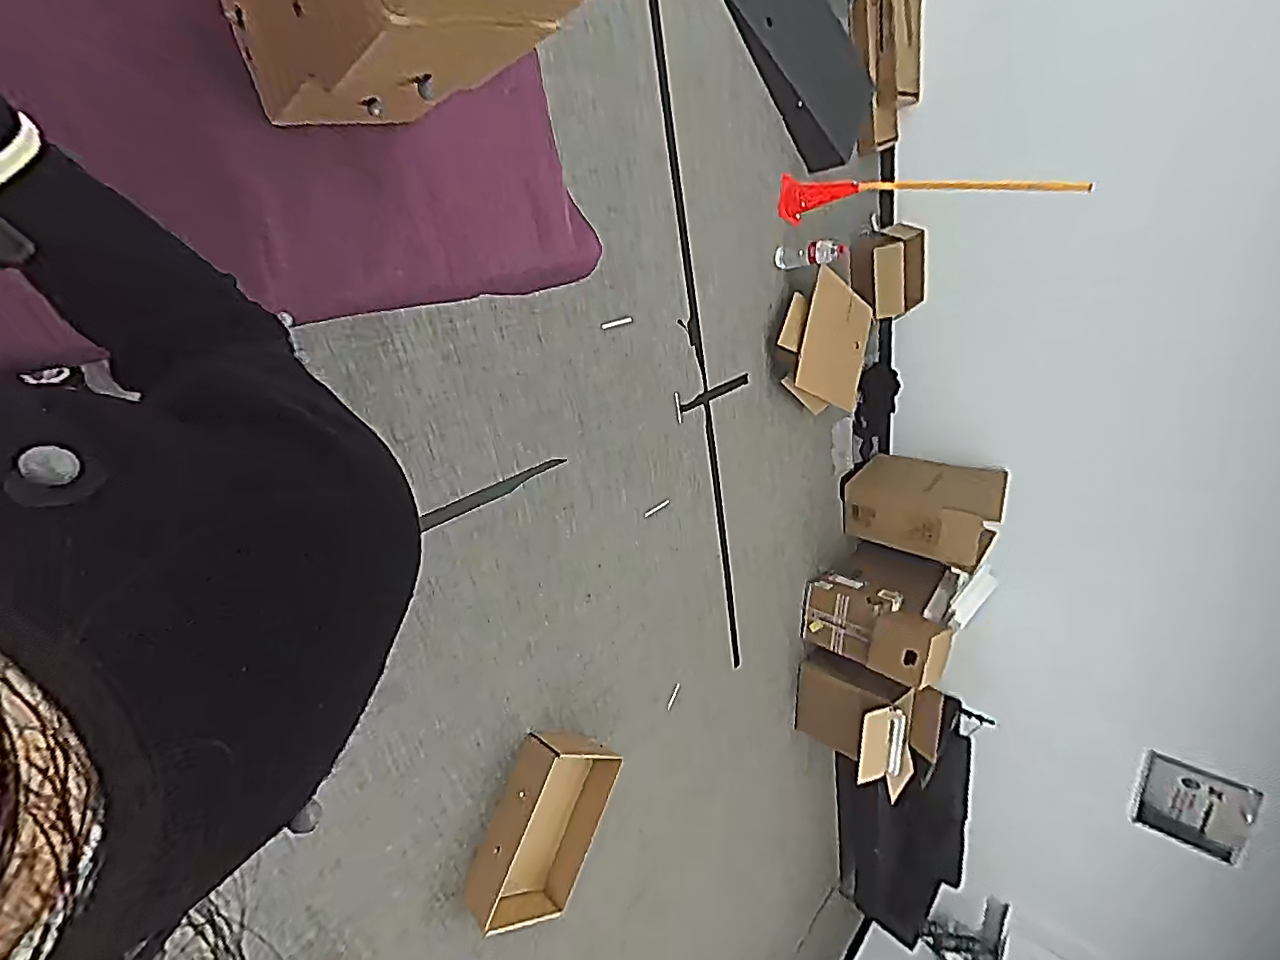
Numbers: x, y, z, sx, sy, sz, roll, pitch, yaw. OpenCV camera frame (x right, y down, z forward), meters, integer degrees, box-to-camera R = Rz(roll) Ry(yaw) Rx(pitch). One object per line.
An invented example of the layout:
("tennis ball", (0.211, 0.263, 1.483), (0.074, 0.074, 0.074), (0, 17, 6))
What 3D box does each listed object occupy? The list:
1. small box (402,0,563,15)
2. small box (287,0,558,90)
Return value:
("small box", (-0.095, -0.452, 0.366), (0.179, 0.176, 0.168), (-34, 122, -35))
("small box", (-0.208, -0.472, 0.482), (0.179, 0.176, 0.168), (-35, 122, -36))
